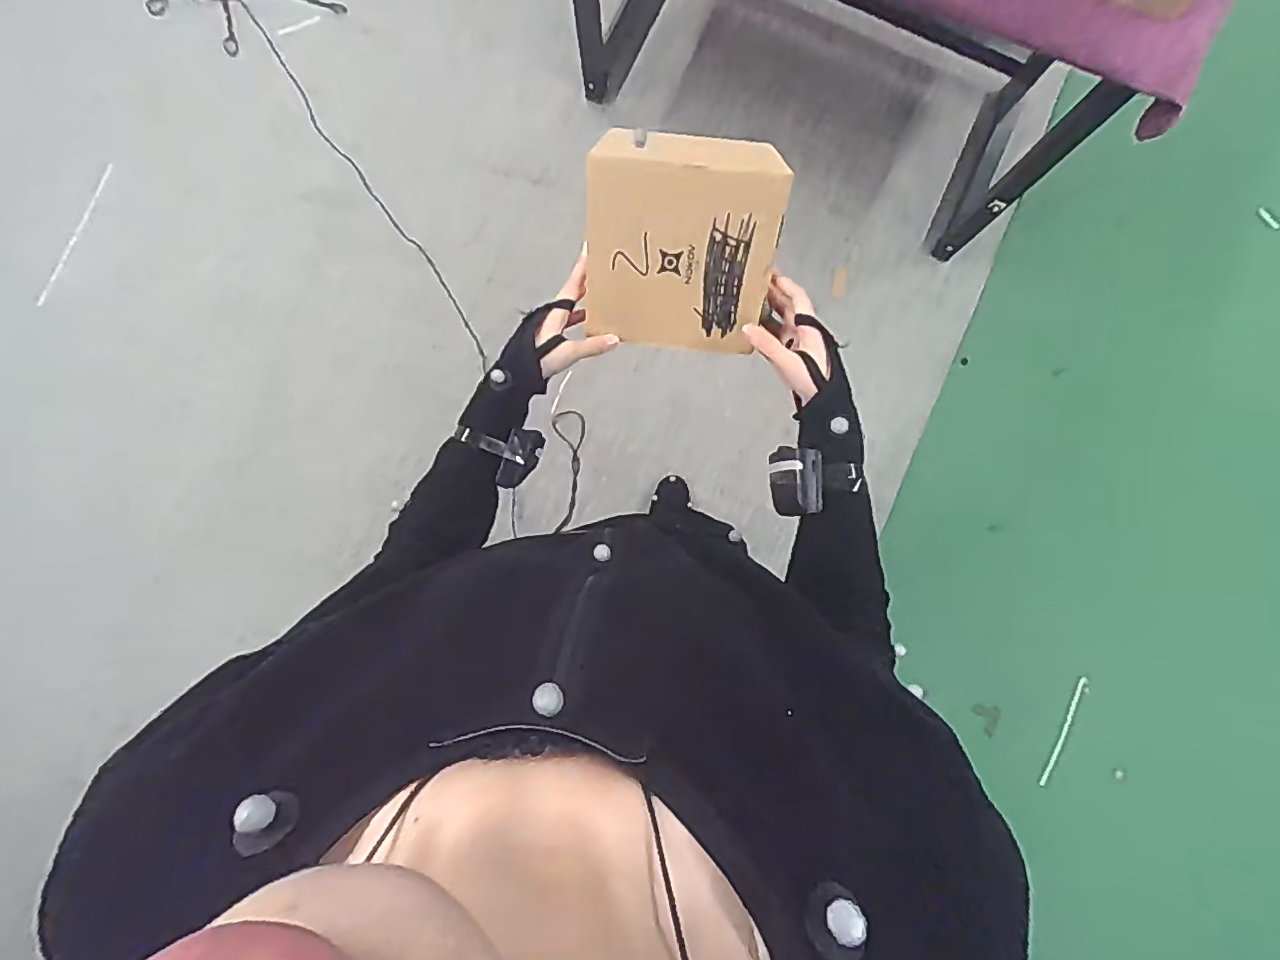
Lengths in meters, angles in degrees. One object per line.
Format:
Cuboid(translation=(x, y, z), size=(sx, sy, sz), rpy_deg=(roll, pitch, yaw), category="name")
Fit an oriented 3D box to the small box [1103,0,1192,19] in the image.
Cuboid(translation=(0.789, -0.829, 0.783), size=(0.179, 0.176, 0.168), rpy_deg=(21, 85, 3), category="small box")
